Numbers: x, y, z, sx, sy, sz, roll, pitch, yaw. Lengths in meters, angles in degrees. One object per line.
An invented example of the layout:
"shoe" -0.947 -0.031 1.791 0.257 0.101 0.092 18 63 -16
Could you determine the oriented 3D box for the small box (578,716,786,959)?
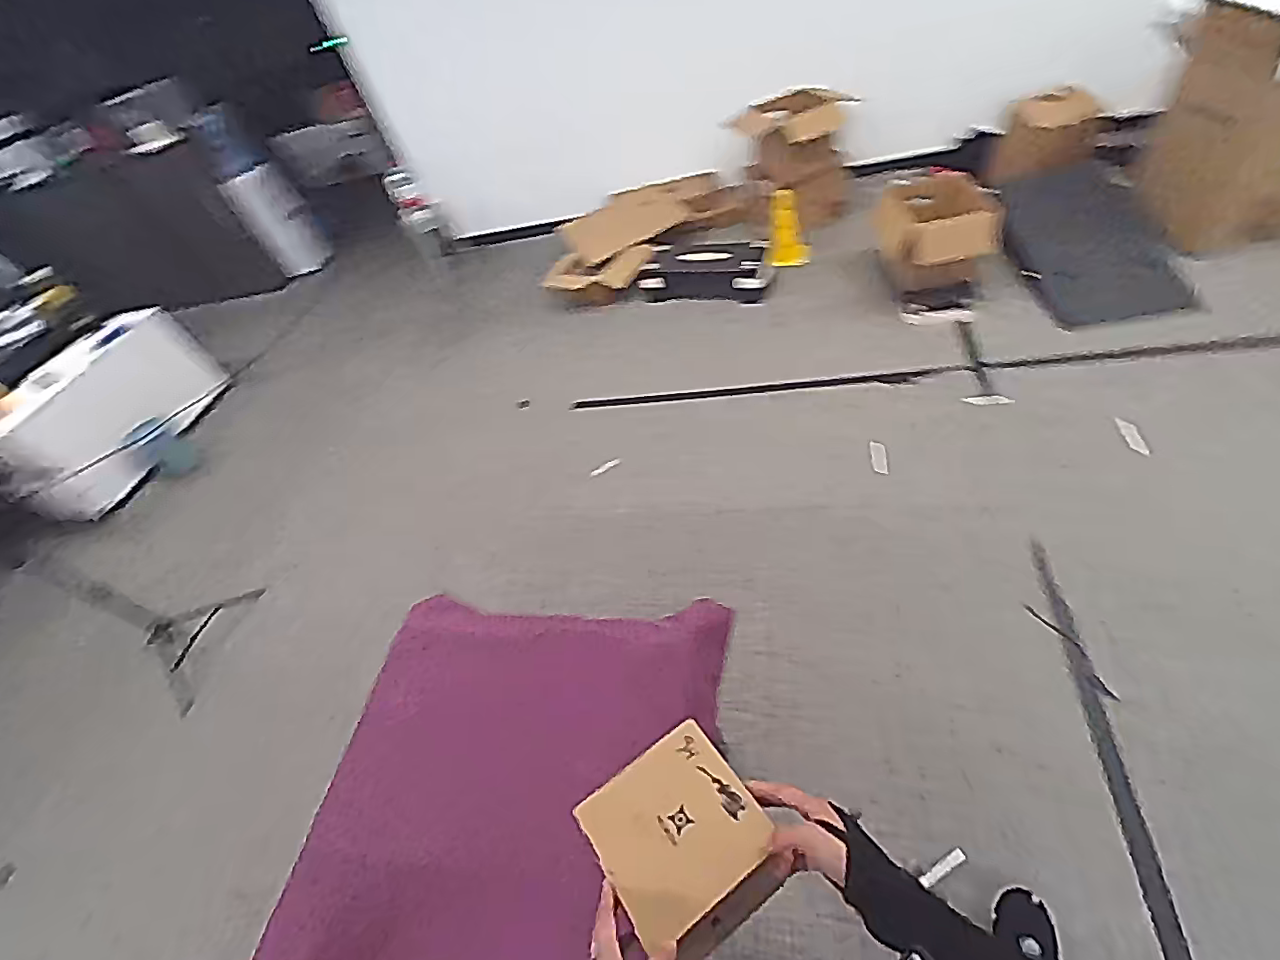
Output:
"small box" 0.057 0.427 0.636 0.179 0.176 0.168 -31 44 -16
